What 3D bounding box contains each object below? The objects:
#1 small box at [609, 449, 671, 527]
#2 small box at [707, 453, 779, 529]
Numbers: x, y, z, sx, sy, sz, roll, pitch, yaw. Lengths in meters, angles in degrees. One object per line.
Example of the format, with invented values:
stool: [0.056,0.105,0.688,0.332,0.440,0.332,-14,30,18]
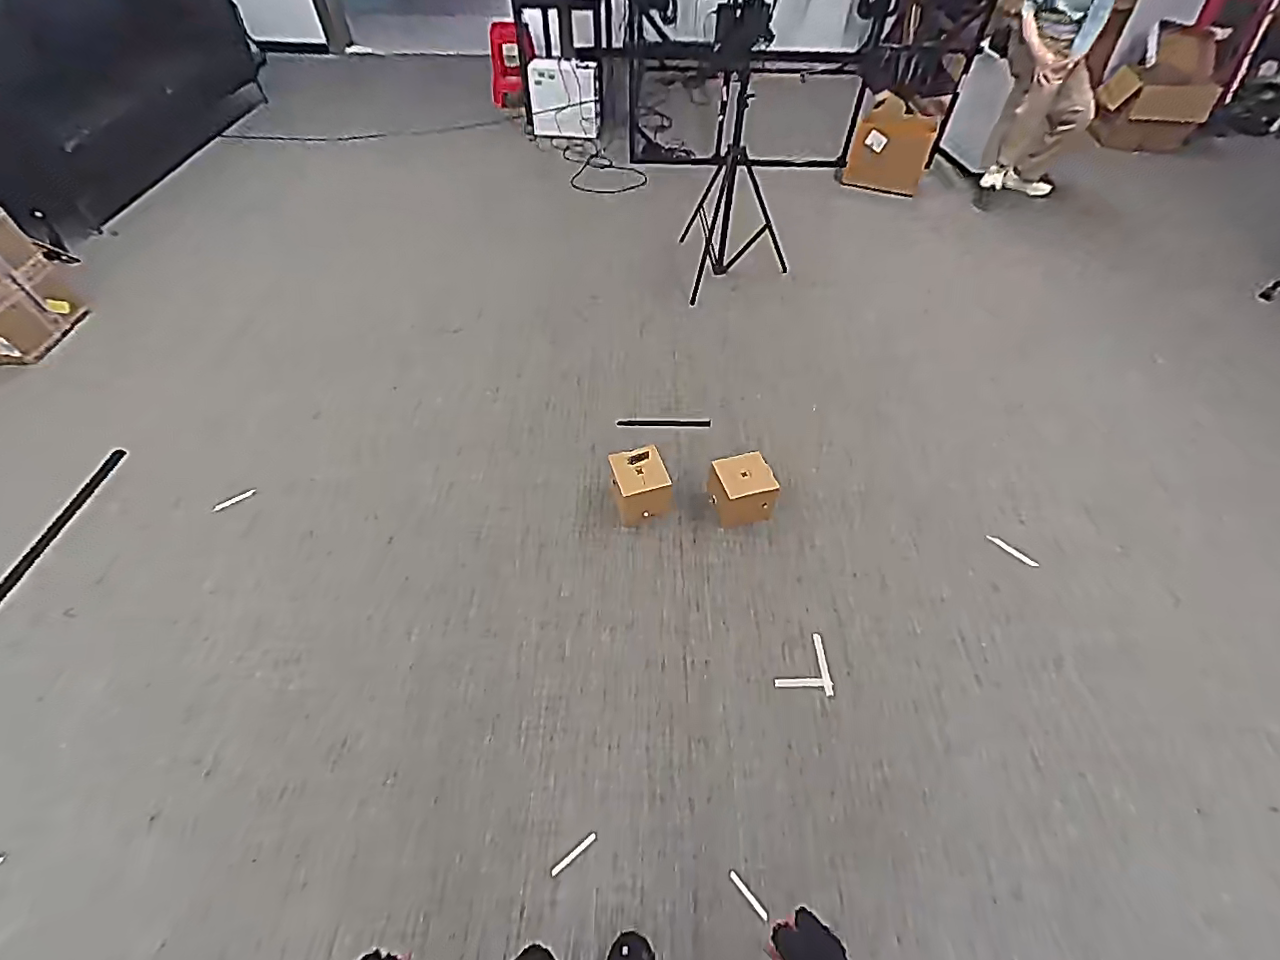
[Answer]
small box: [-0.004,0.026,1.805,0.168,0.176,0.179,-14,53,-11]
small box: [0.336,0.039,1.800,0.179,0.176,0.168,-14,52,-11]
